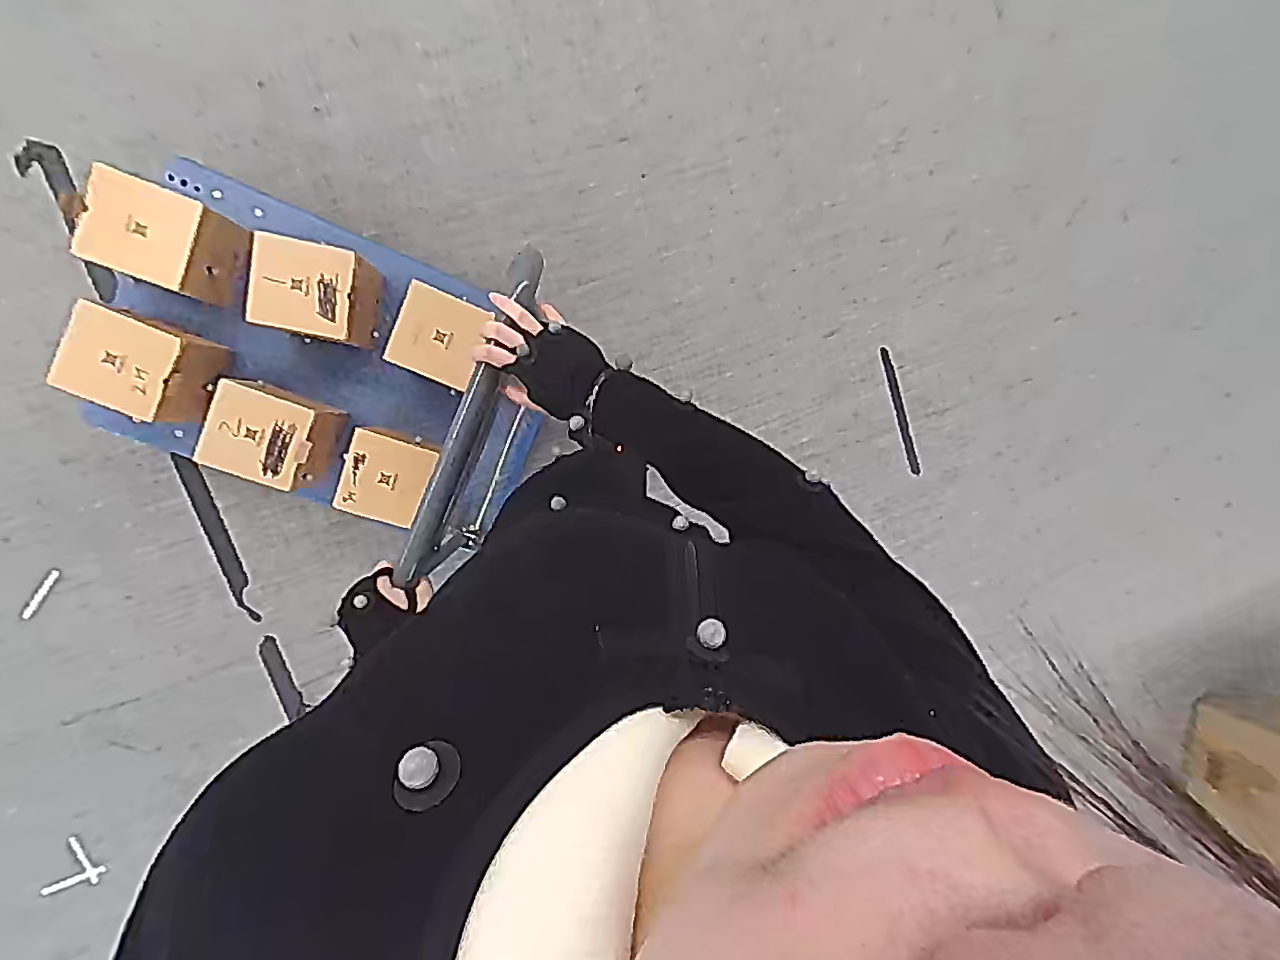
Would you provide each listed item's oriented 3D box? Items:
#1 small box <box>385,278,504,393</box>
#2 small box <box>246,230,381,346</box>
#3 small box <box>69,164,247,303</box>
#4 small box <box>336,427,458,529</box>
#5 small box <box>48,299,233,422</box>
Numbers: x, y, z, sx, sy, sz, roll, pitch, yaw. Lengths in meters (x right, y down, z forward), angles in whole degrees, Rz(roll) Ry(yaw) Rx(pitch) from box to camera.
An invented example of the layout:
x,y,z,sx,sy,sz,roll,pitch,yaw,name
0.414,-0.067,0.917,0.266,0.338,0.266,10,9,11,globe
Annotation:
x,y,z,sx,sy,sz,roll,pitch,yaw,name
-0.394,-0.290,1.125,0.179,0.176,0.168,22,92,-11,small box
-0.634,-0.368,1.072,0.179,0.176,0.168,9,96,-10,small box
-0.890,-0.448,1.019,0.179,0.176,0.168,18,94,-12,small box
-0.499,-0.011,1.139,0.179,0.176,0.168,18,93,-12,small box
-0.941,-0.219,1.037,0.179,0.176,0.168,23,93,-12,small box
